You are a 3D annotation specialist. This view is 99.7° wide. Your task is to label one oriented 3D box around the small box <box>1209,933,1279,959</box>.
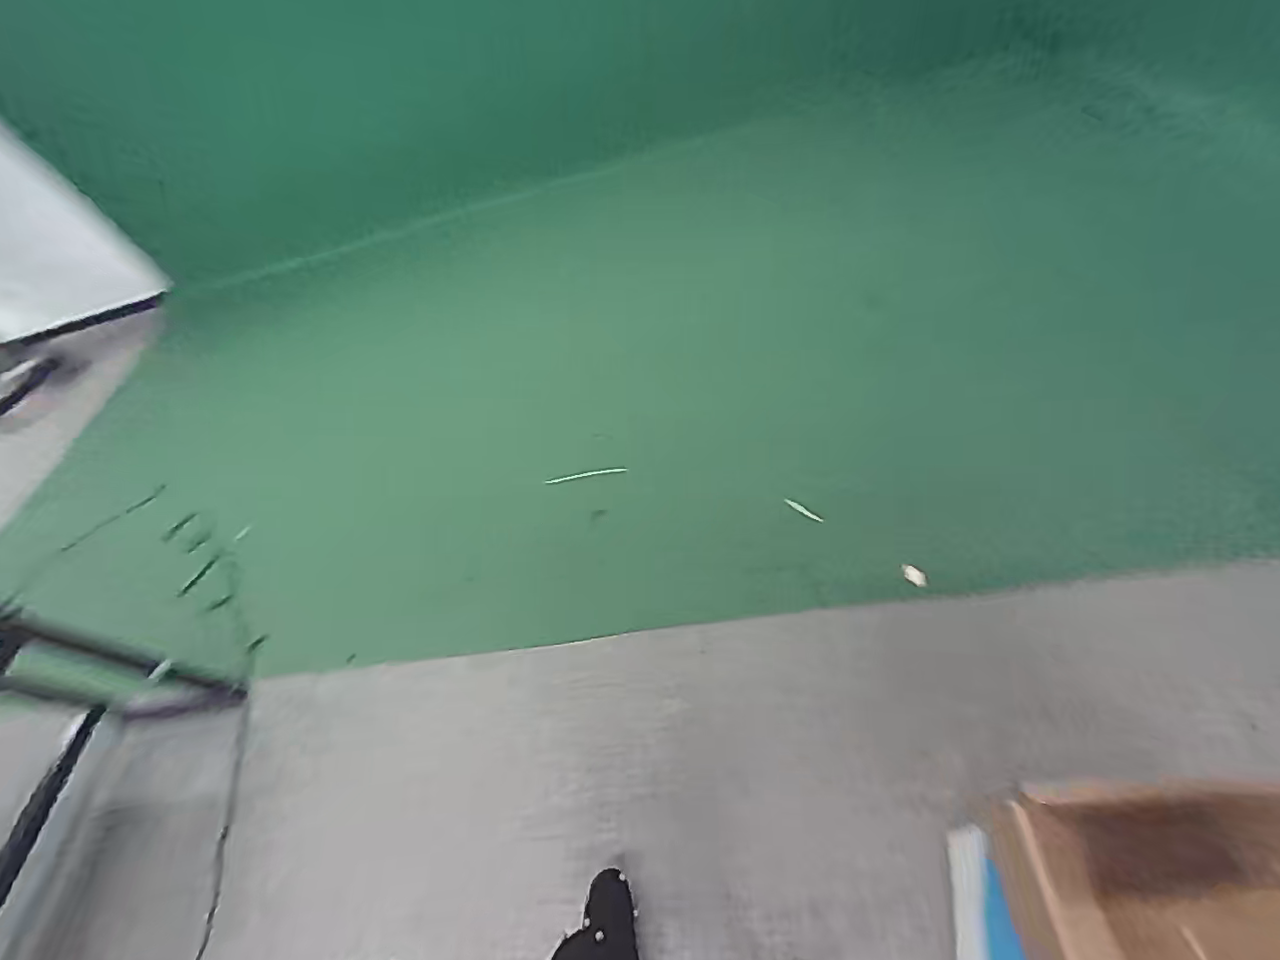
[{"bbox_3d":[0.581,0.432,0.376,0.168,0.176,0.179,-12,54,8],"label":"small box"}]
